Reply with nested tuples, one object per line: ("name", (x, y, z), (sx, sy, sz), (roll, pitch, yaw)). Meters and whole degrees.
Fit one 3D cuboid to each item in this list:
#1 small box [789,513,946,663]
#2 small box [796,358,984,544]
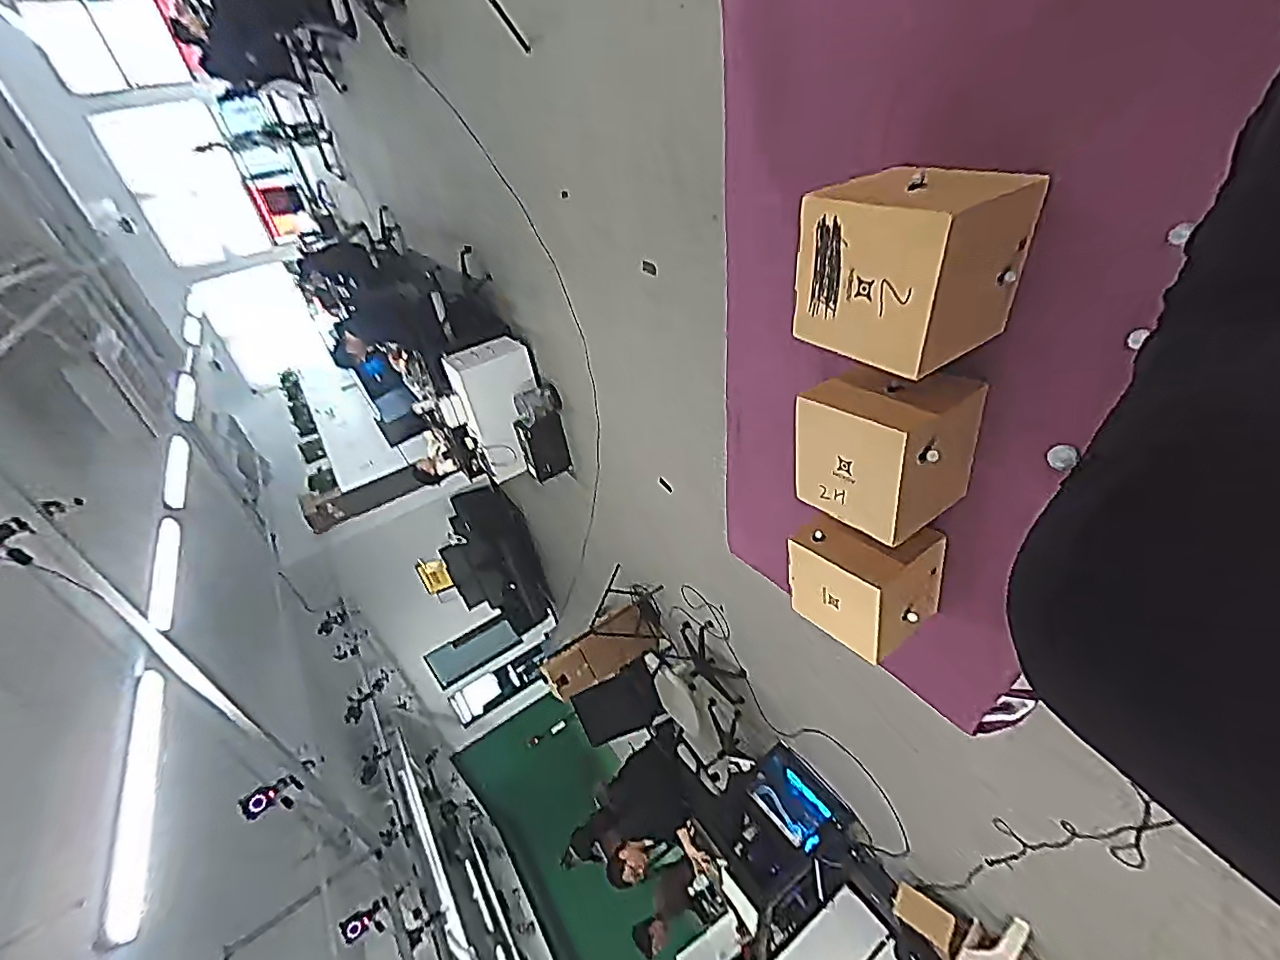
("small box", (0.374, 0.155, 0.893), (0.179, 0.176, 0.168), (32, 142, 51))
("small box", (0.337, -0.051, 0.744), (0.168, 0.176, 0.179), (36, 145, 49))
